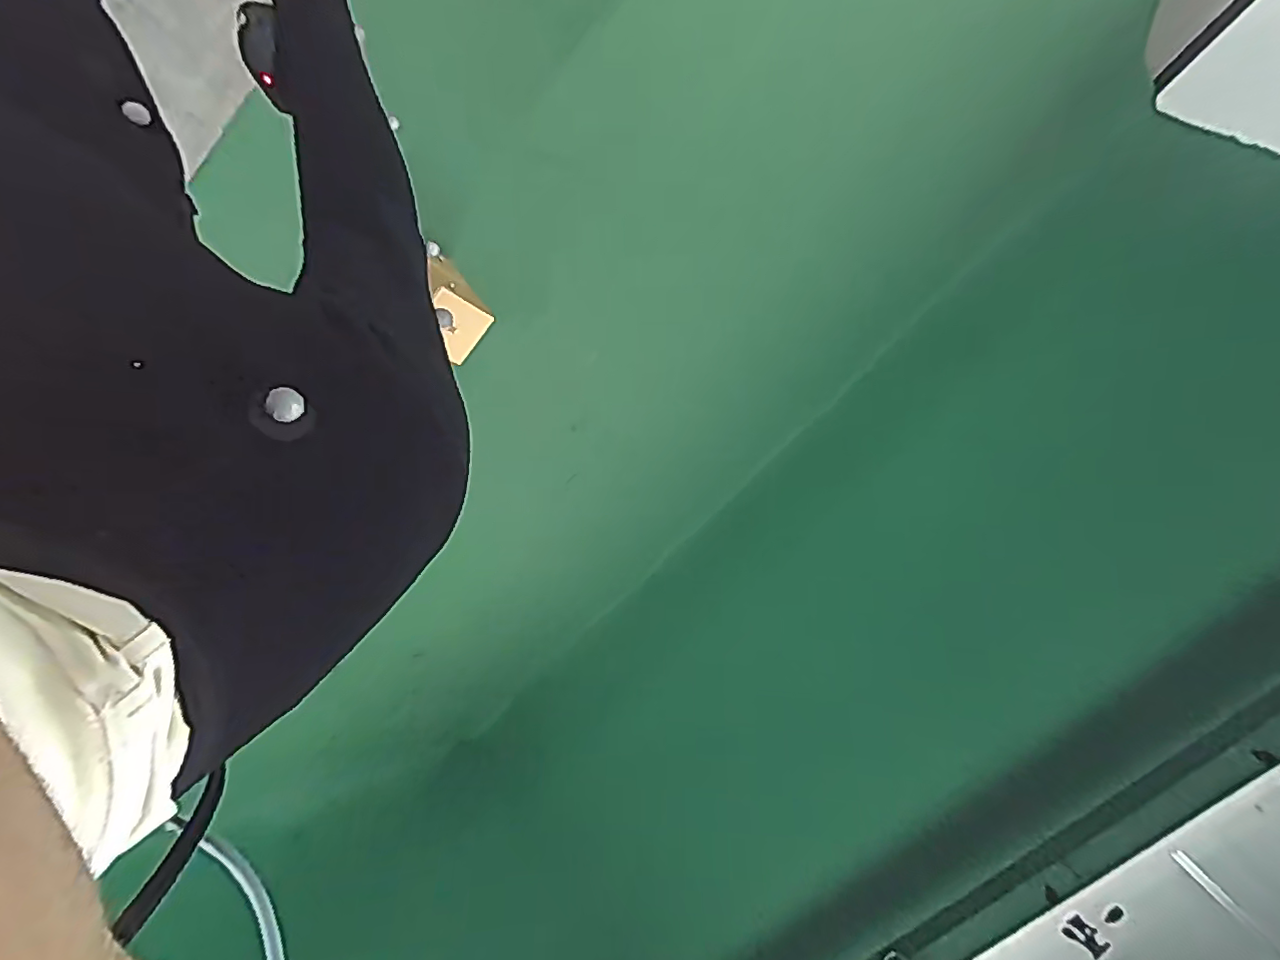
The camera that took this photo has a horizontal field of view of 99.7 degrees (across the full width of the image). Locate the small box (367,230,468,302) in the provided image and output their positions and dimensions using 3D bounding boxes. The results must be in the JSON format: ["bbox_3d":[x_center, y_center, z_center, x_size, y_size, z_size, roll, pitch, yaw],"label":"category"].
[{"bbox_3d":[-0.622,-0.561,1.500,0.168,0.176,0.179,-46,149,13],"label":"small box"}]

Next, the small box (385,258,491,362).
[{"bbox_3d":[-0.534,-0.448,1.424,0.168,0.176,0.179,-47,147,15],"label":"small box"}]
